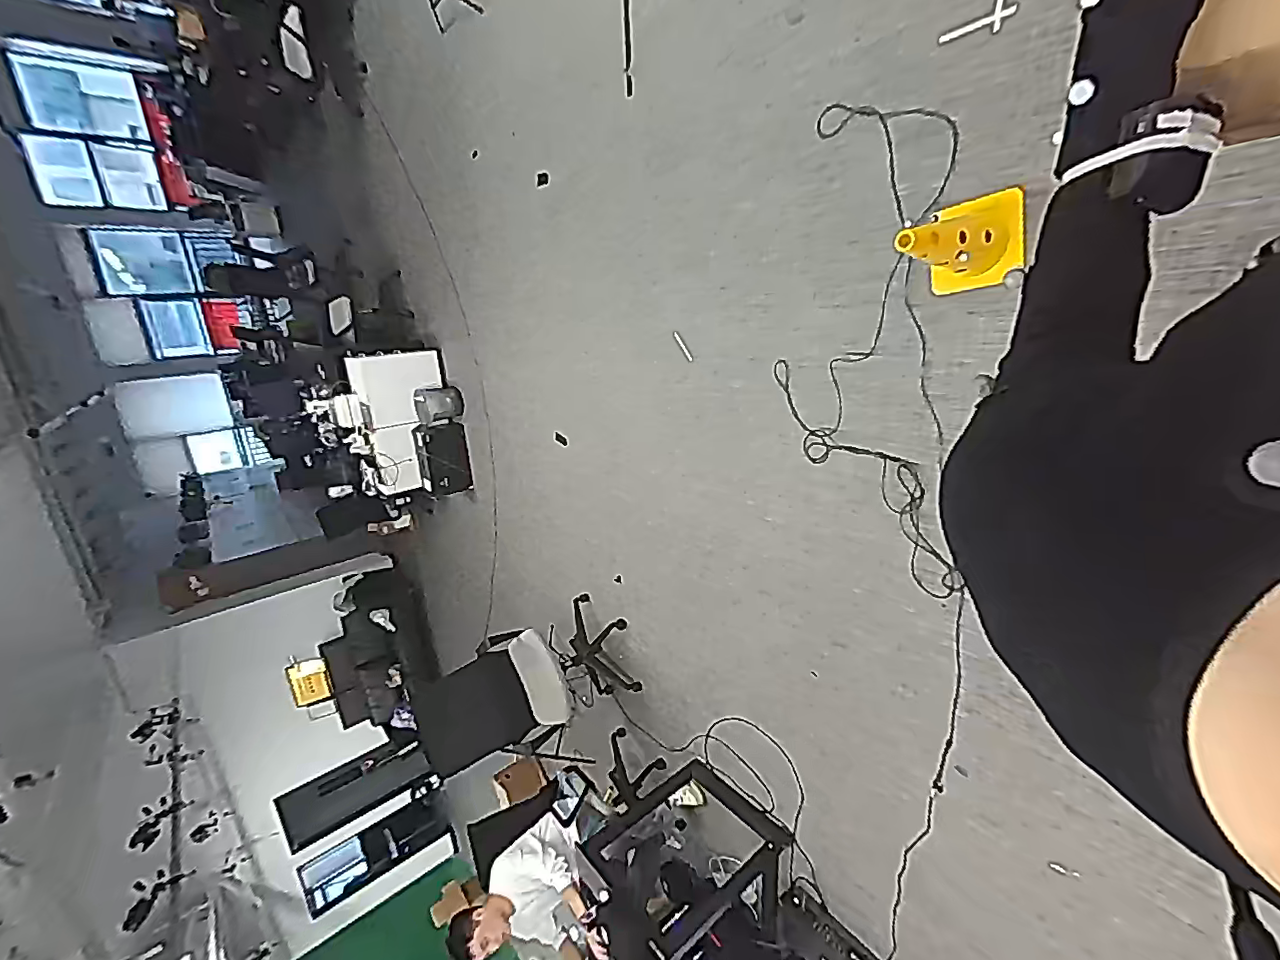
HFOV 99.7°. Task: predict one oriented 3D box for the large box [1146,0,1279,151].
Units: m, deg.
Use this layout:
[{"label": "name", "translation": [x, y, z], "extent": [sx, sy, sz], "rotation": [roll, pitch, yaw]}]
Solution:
[{"label": "large box", "translation": [0.623, -0.435, 0.333], "extent": [0.408, 0.320, 0.320], "rotation": [14, 121, 47]}]
